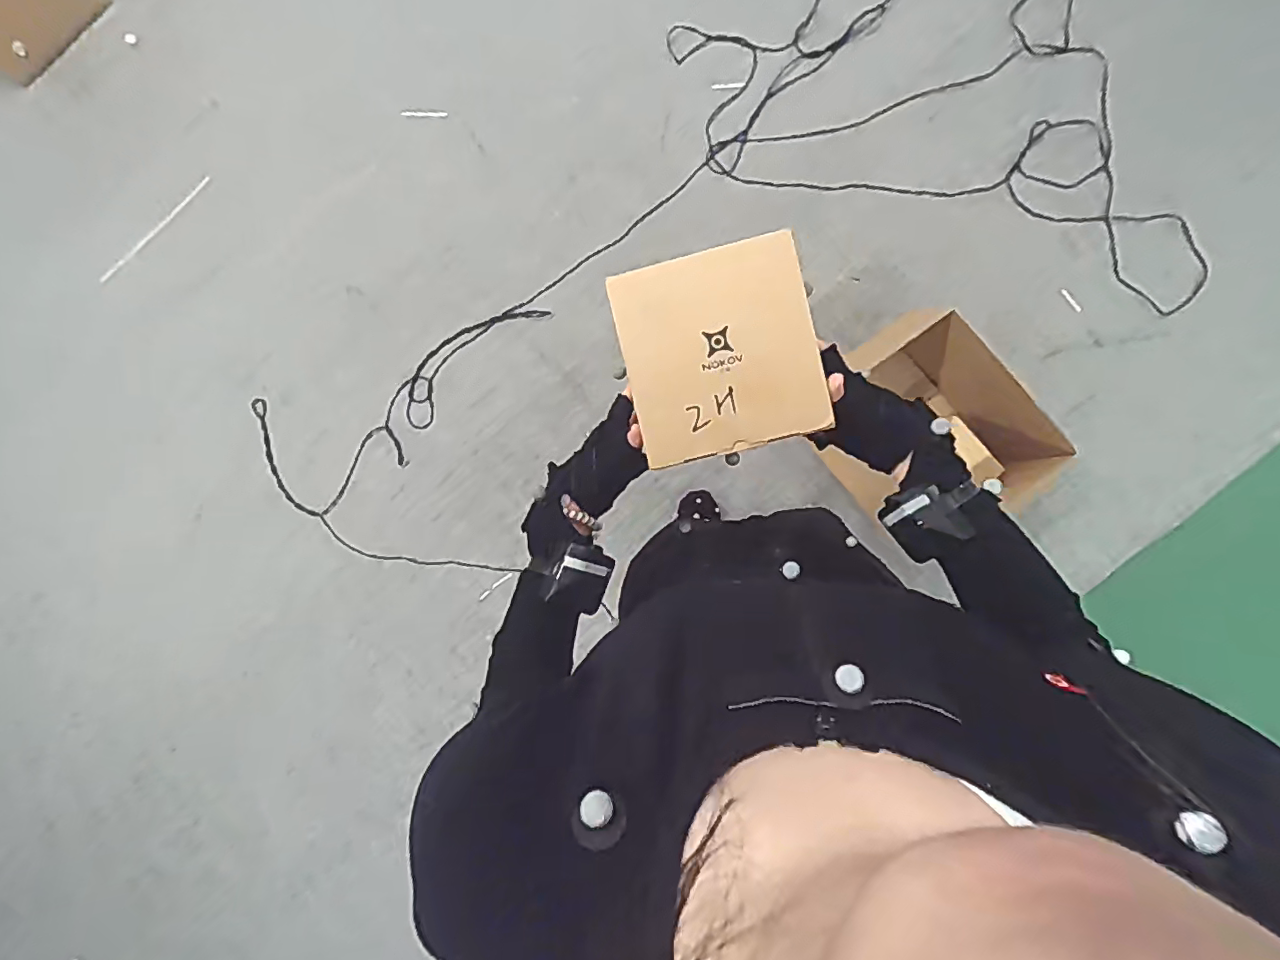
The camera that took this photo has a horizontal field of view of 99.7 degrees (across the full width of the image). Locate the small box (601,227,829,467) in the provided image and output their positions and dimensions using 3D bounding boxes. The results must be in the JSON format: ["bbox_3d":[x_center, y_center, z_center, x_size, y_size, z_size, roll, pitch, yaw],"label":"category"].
[{"bbox_3d":[0.068,-0.115,0.539,0.168,0.176,0.179,-14,92,6],"label":"small box"}]
